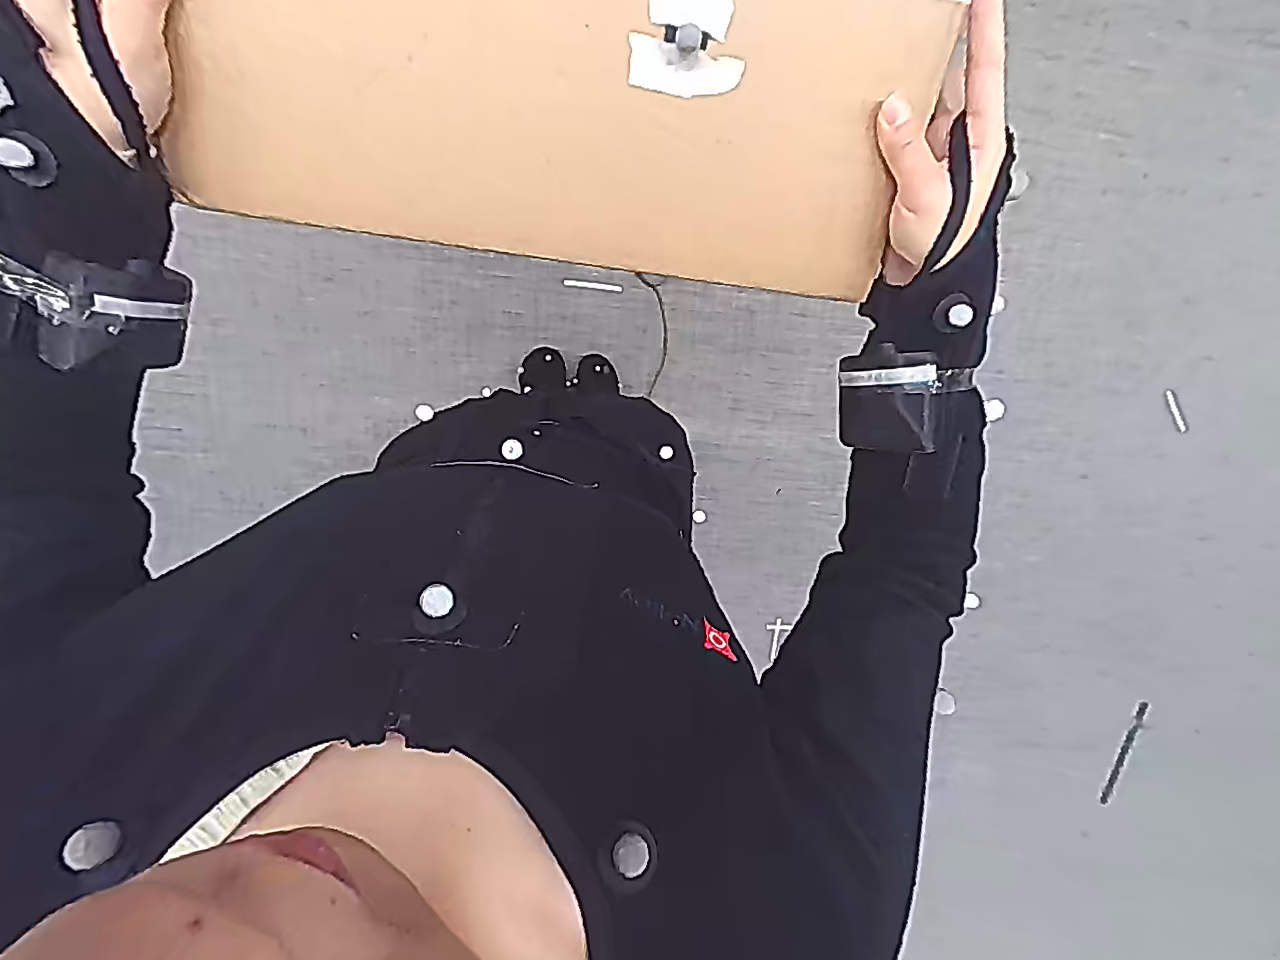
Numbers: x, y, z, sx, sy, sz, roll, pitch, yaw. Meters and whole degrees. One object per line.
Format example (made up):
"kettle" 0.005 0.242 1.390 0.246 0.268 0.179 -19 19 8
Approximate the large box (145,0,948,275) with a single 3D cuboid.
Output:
"large box" -0.044 -0.352 0.378 0.408 0.320 0.320 5 121 -7
